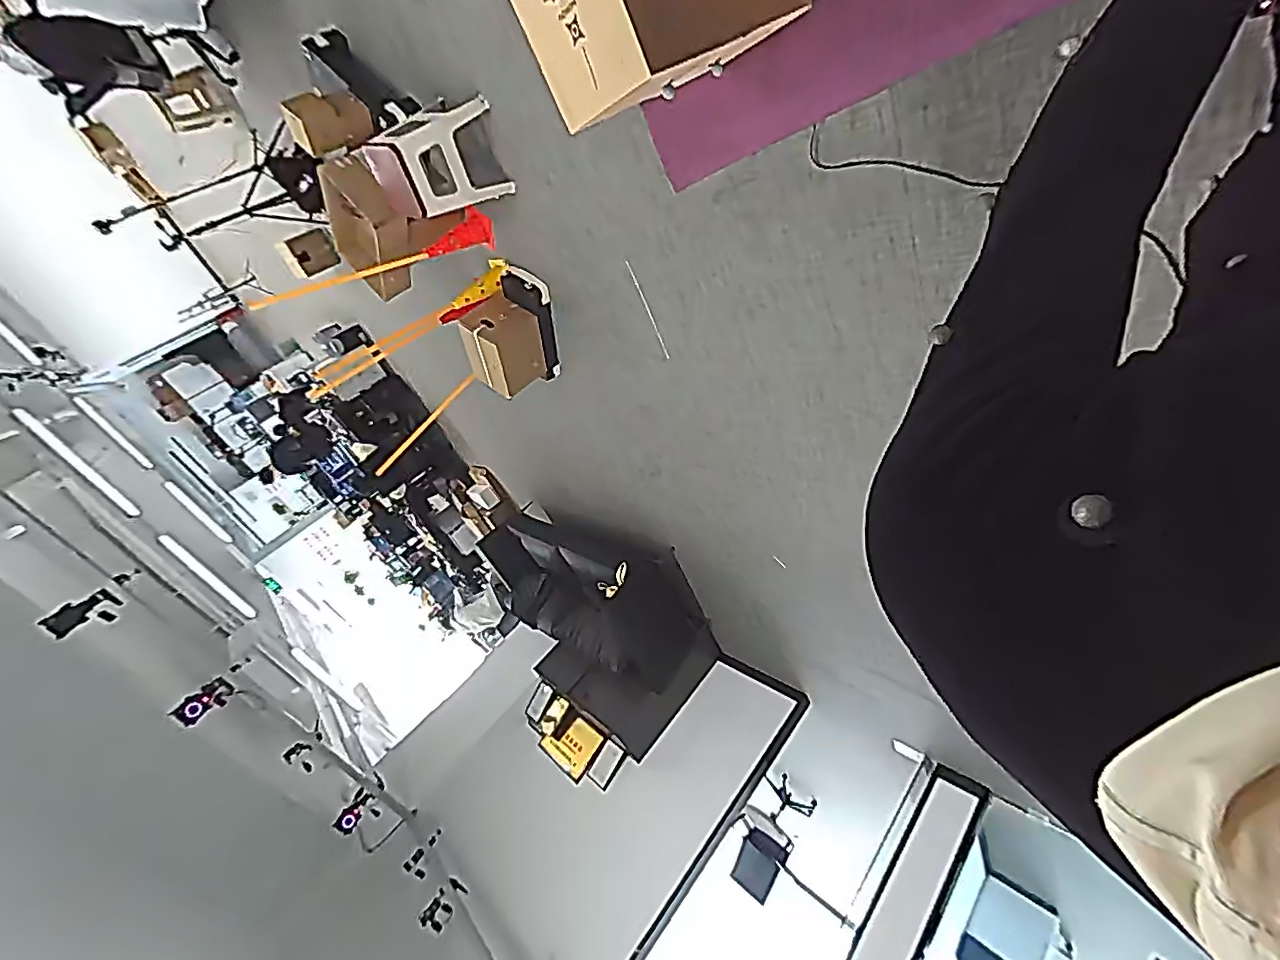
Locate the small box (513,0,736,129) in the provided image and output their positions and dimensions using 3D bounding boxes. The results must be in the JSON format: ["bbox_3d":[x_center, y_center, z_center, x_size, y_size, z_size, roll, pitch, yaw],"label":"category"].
[{"bbox_3d":[-0.019,-0.552,0.624,0.168,0.176,0.179,12,138,50],"label":"small box"}]

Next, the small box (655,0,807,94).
[{"bbox_3d":[0.089,-0.651,0.698,0.168,0.176,0.179,11,136,50],"label":"small box"}]
